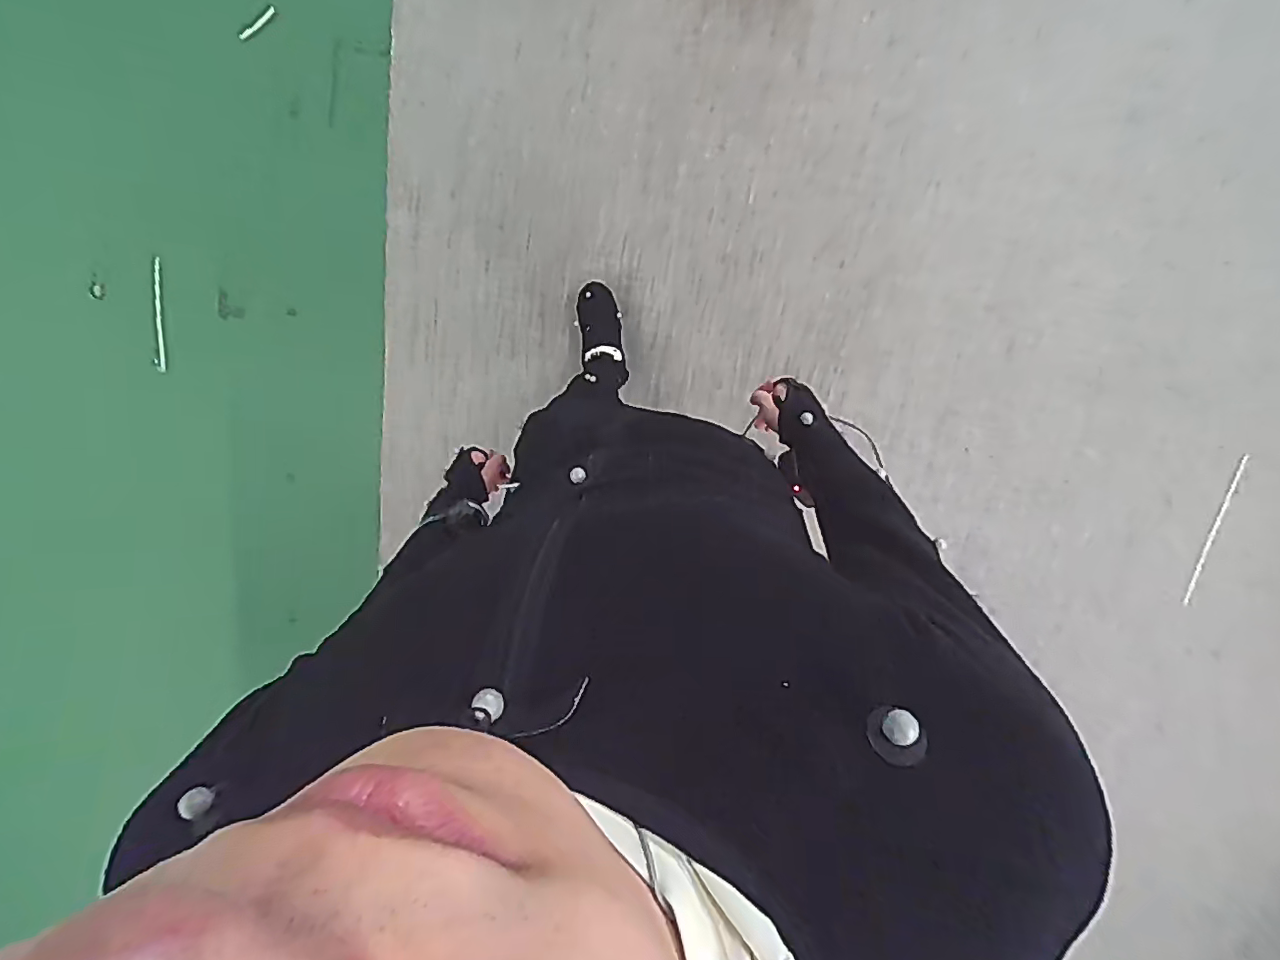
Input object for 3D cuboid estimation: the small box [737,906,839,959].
[{"bbox_3d":[0.285,0.959,1.029,0.168,0.176,0.179,4,105,1],"label":"small box"}]
